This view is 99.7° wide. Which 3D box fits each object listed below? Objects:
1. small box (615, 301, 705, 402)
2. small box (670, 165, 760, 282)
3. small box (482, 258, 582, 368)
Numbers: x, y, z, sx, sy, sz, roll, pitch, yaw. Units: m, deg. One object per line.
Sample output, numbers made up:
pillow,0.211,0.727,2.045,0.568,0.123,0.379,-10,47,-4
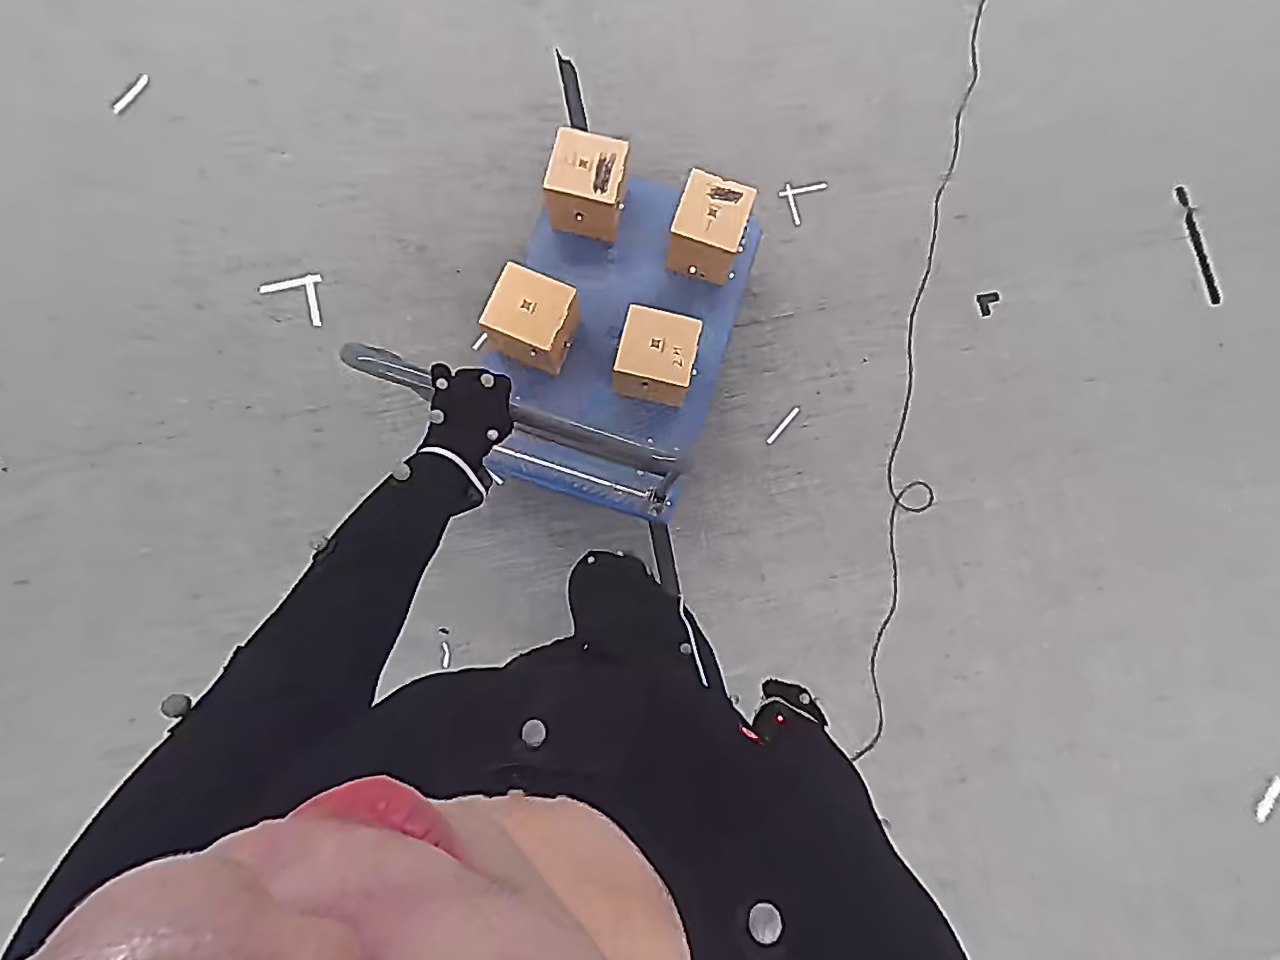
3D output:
small box,0.044,-0.301,1.304,0.179,0.176,0.168,14,82,0
small box,0.178,-0.633,1.352,0.168,0.176,0.179,19,83,0
small box,-0.251,-0.393,1.307,0.179,0.176,0.168,23,82,0
